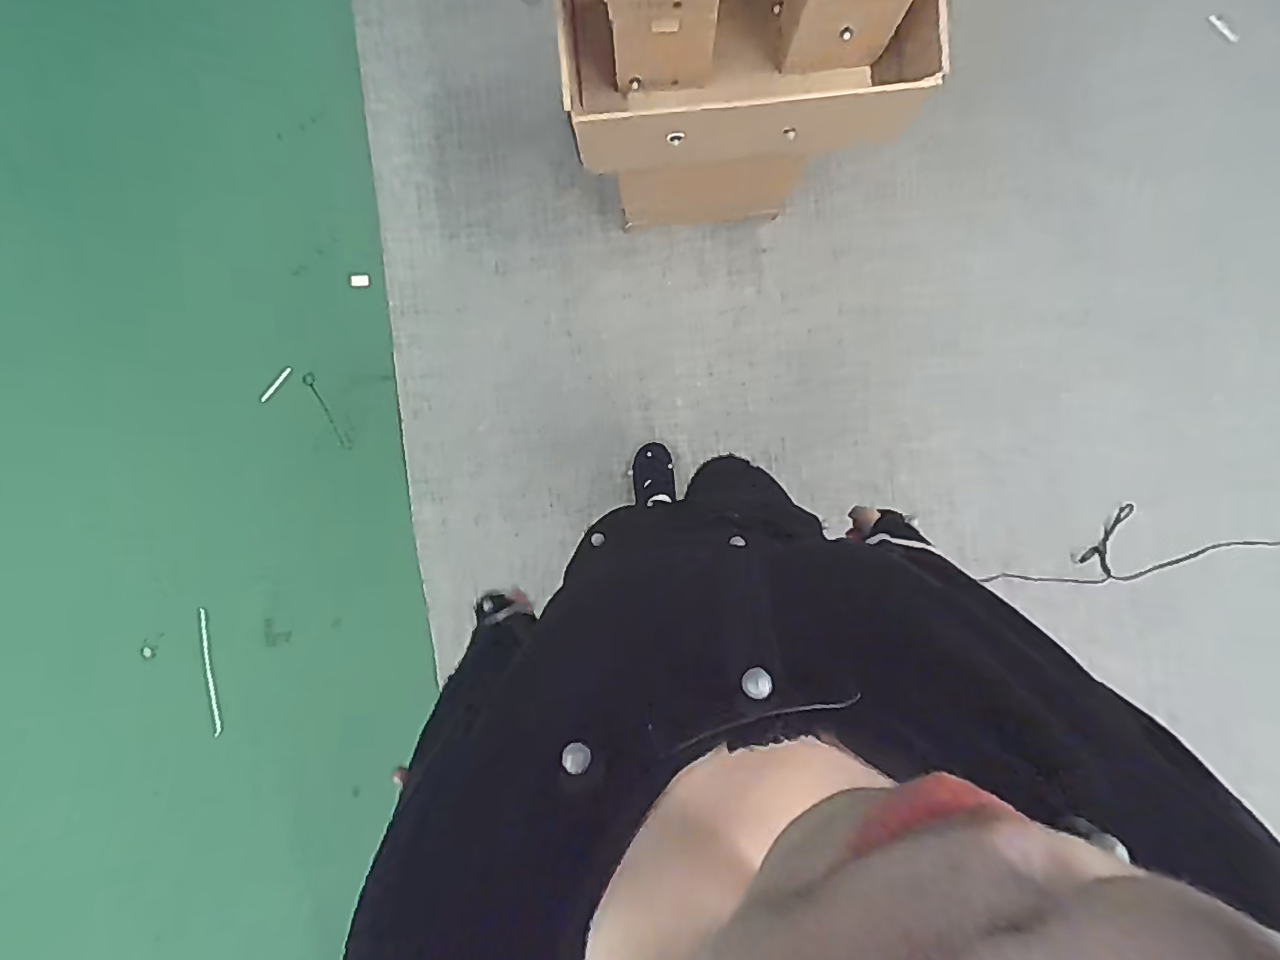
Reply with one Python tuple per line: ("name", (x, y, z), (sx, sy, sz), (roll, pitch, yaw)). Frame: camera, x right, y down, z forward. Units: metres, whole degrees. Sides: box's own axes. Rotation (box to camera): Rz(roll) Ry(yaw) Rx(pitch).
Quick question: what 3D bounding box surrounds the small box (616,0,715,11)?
("small box", (0.033, -0.792, 0.740), (0.168, 0.176, 0.179), (1, 92, 1))
